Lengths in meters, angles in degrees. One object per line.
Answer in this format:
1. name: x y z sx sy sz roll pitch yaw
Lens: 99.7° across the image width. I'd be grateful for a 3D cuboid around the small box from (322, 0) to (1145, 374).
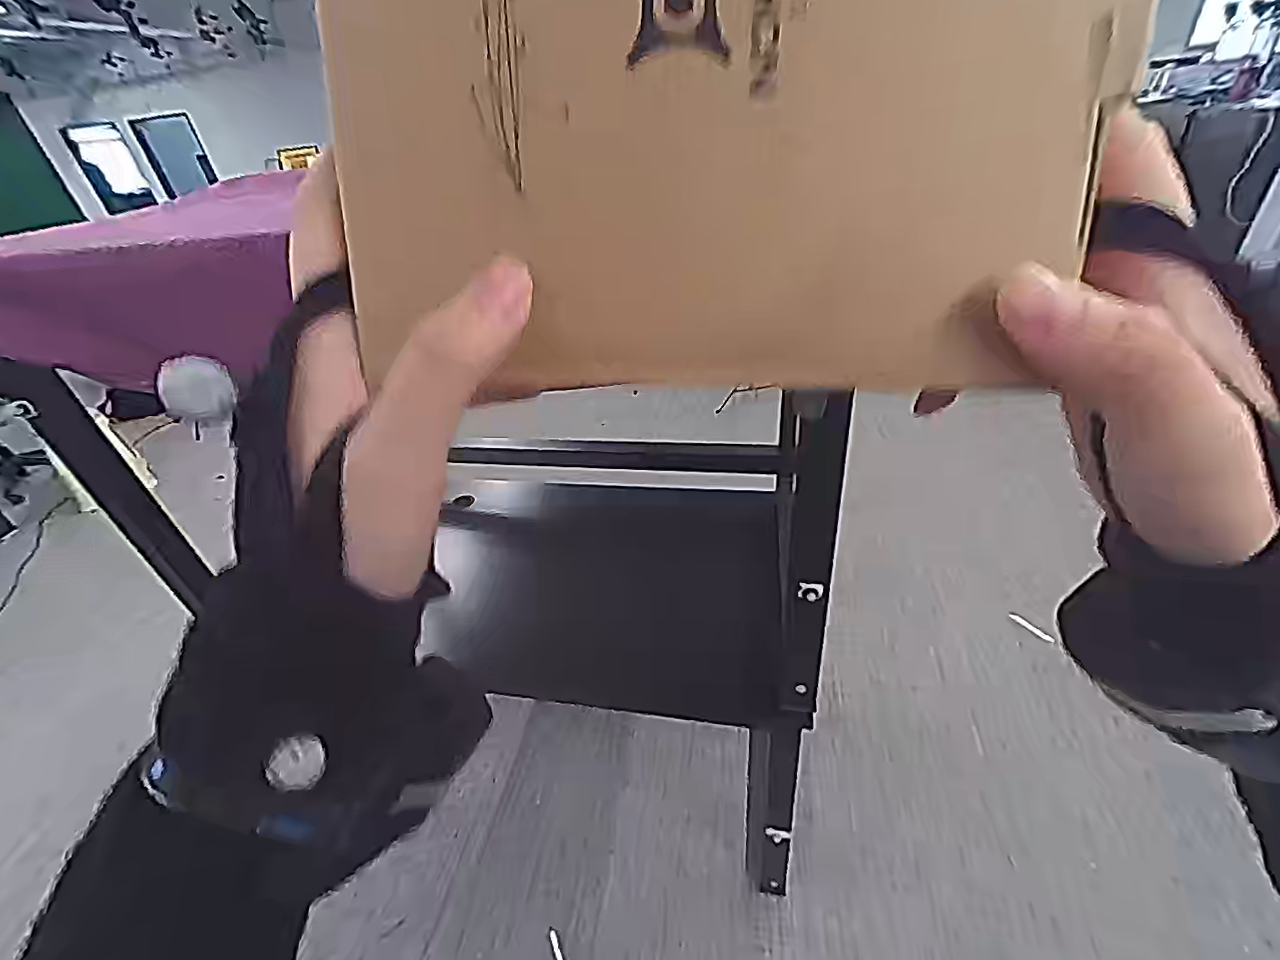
1. small box: 0.023 -0.125 0.190 0.179 0.168 0.176 2 13 7
